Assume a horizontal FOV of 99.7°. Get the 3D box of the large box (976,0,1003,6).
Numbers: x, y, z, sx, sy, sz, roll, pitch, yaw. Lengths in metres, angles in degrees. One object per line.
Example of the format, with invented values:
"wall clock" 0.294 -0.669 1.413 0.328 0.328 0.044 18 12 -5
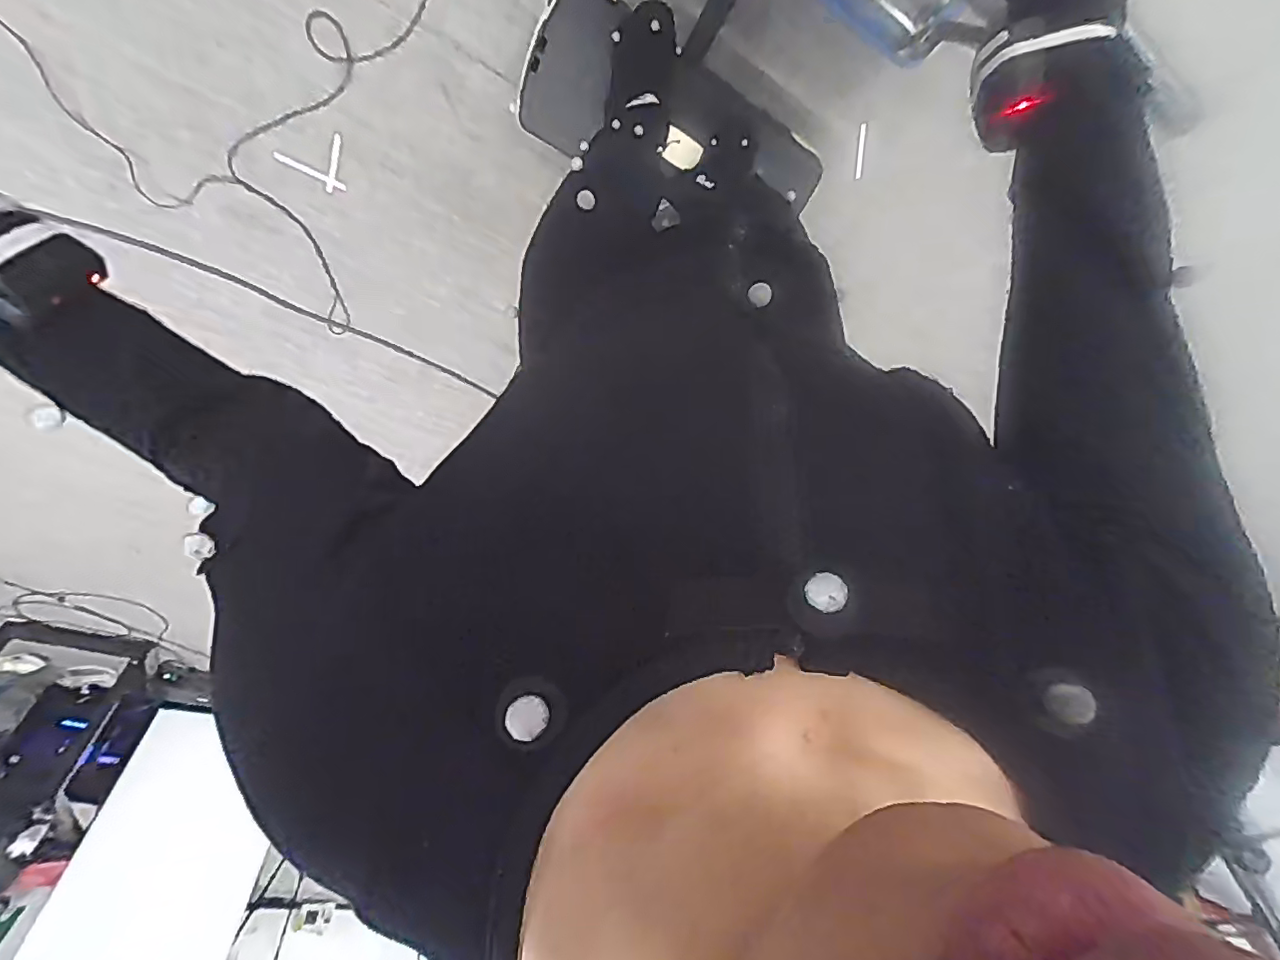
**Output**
"large box" 0.384 -0.912 0.680 0.408 0.320 0.320 20 132 -23
